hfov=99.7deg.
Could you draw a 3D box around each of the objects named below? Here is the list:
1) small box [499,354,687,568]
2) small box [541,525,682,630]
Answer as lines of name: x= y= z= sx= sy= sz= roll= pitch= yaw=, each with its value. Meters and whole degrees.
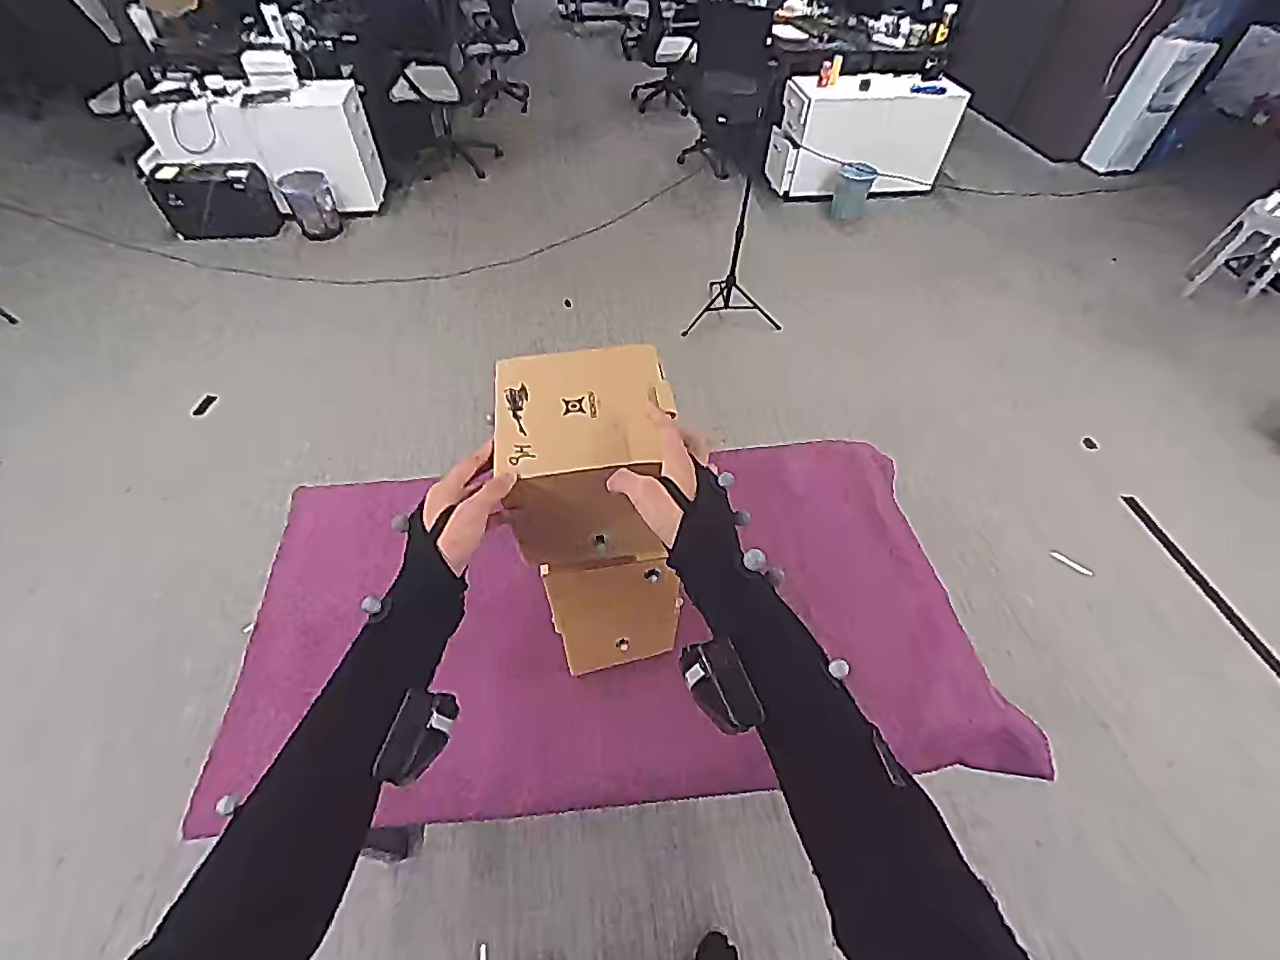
small box: x=-0.053 y=-0.018 z=0.605 sx=0.179 sy=0.176 sz=0.168 roll=-6 pitch=52 yaw=-5
small box: x=-0.046 y=0.096 z=0.762 sx=0.179 sy=0.176 sz=0.168 roll=-7 pitch=51 yaw=-8
